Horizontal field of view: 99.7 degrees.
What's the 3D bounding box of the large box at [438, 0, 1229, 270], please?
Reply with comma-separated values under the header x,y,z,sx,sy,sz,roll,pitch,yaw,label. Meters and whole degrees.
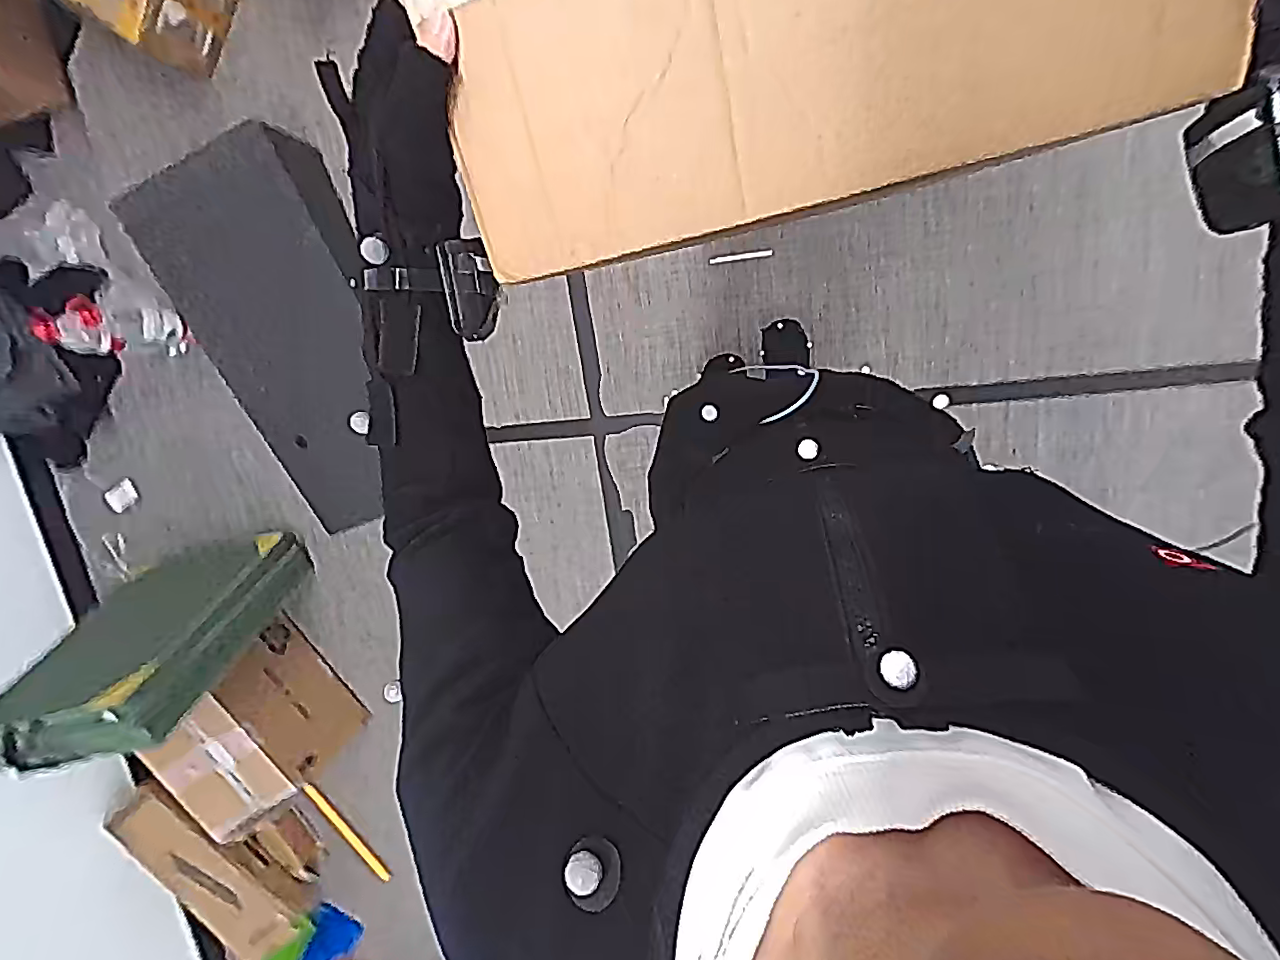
x,y,z,sx,sy,sz,roll,pitch,yaw,label
0.092,-0.369,0.405,0.408,0.320,0.320,-9,112,13,large box
